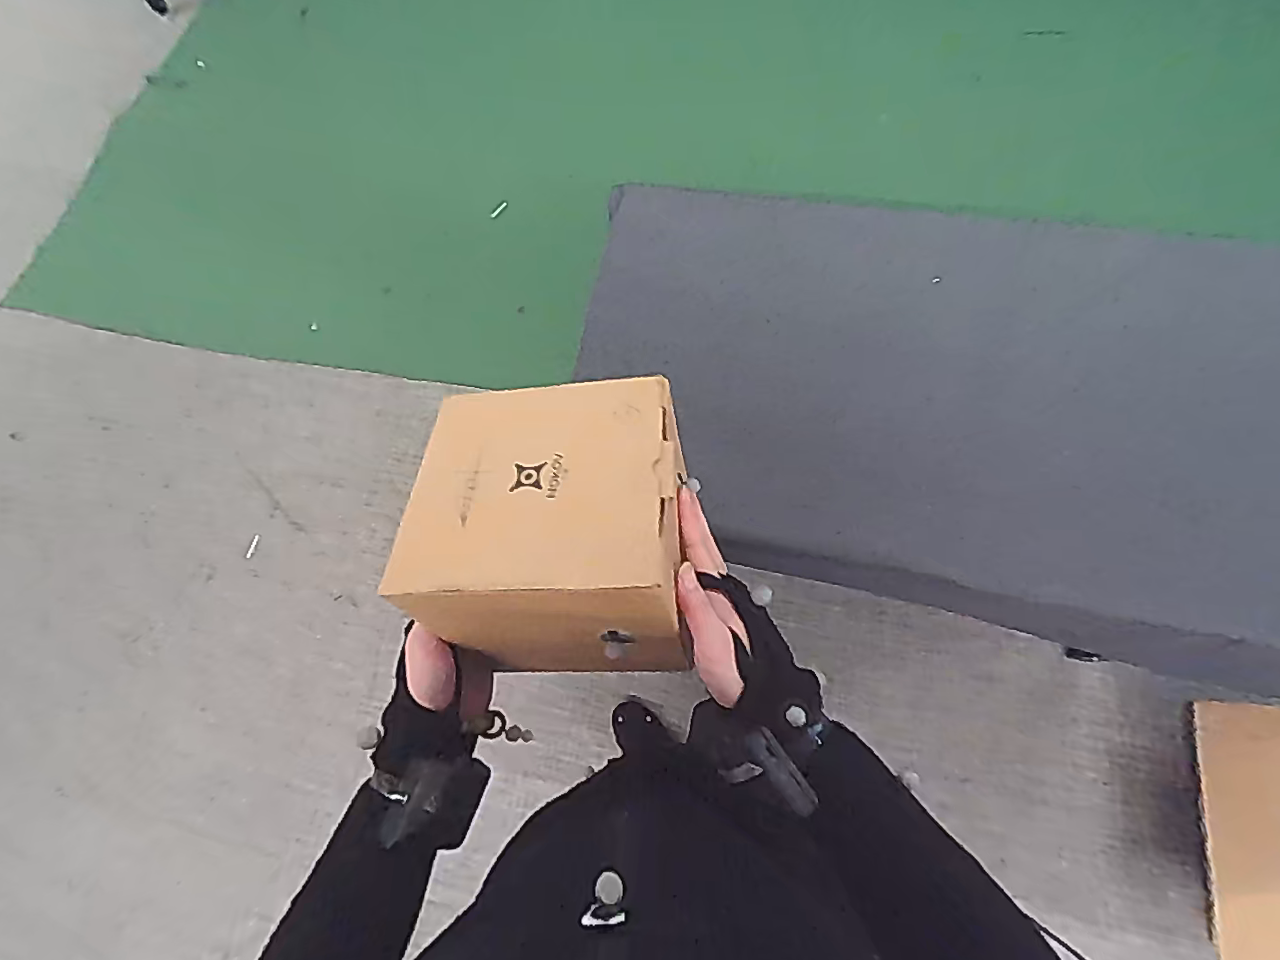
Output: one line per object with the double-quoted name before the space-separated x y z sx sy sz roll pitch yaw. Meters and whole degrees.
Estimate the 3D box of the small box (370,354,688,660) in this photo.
"small box" -0.056 0.030 0.410 0.179 0.176 0.168 -4 54 10
